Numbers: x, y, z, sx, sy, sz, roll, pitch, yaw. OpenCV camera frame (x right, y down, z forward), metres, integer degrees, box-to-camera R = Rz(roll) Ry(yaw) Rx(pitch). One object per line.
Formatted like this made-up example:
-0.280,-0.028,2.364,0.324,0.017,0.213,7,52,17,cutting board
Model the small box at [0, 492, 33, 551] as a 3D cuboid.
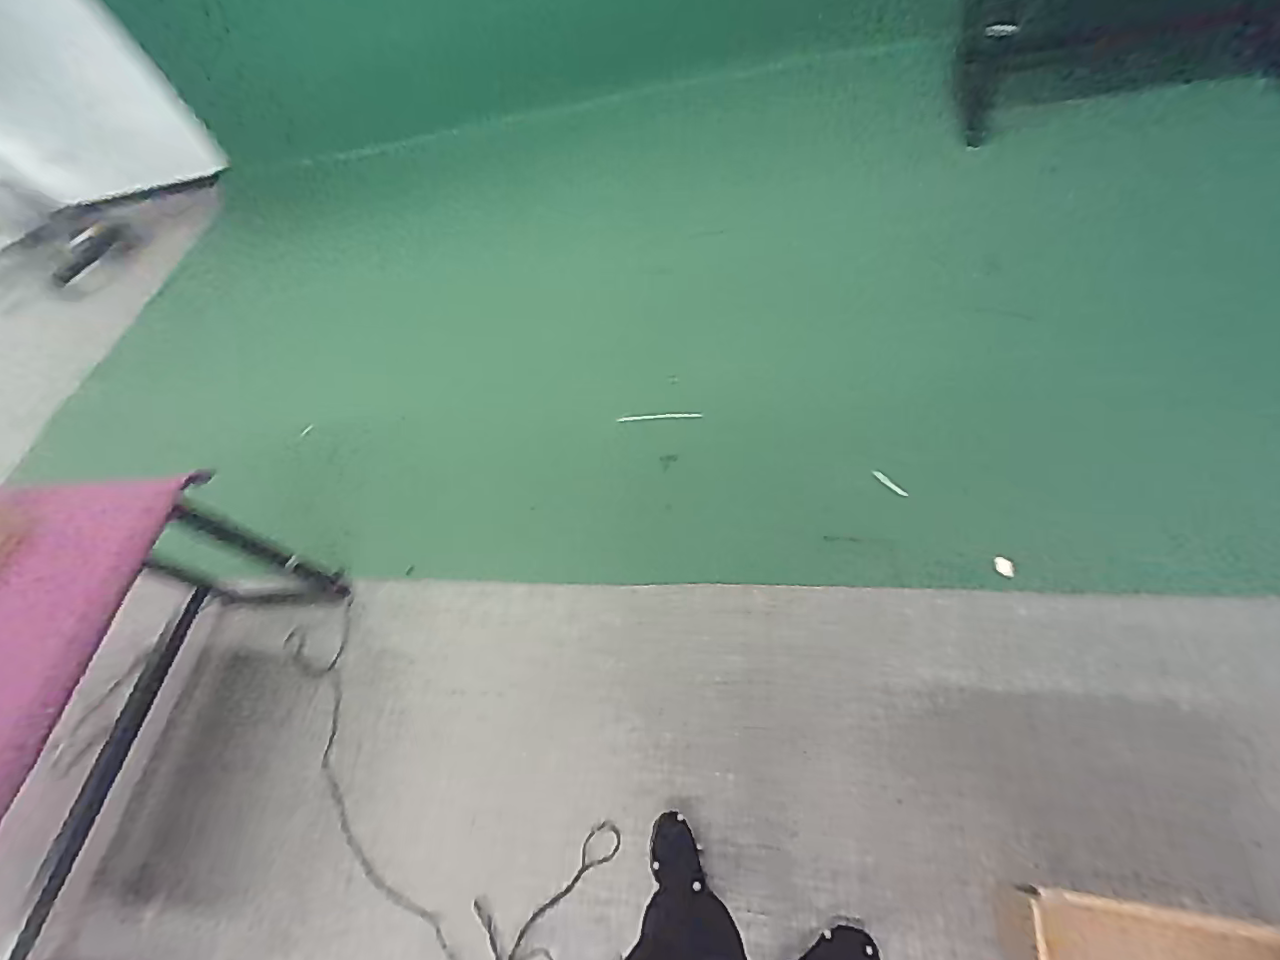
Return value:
-1.639,0.095,1.287,0.179,0.176,0.168,1,60,12,small box
